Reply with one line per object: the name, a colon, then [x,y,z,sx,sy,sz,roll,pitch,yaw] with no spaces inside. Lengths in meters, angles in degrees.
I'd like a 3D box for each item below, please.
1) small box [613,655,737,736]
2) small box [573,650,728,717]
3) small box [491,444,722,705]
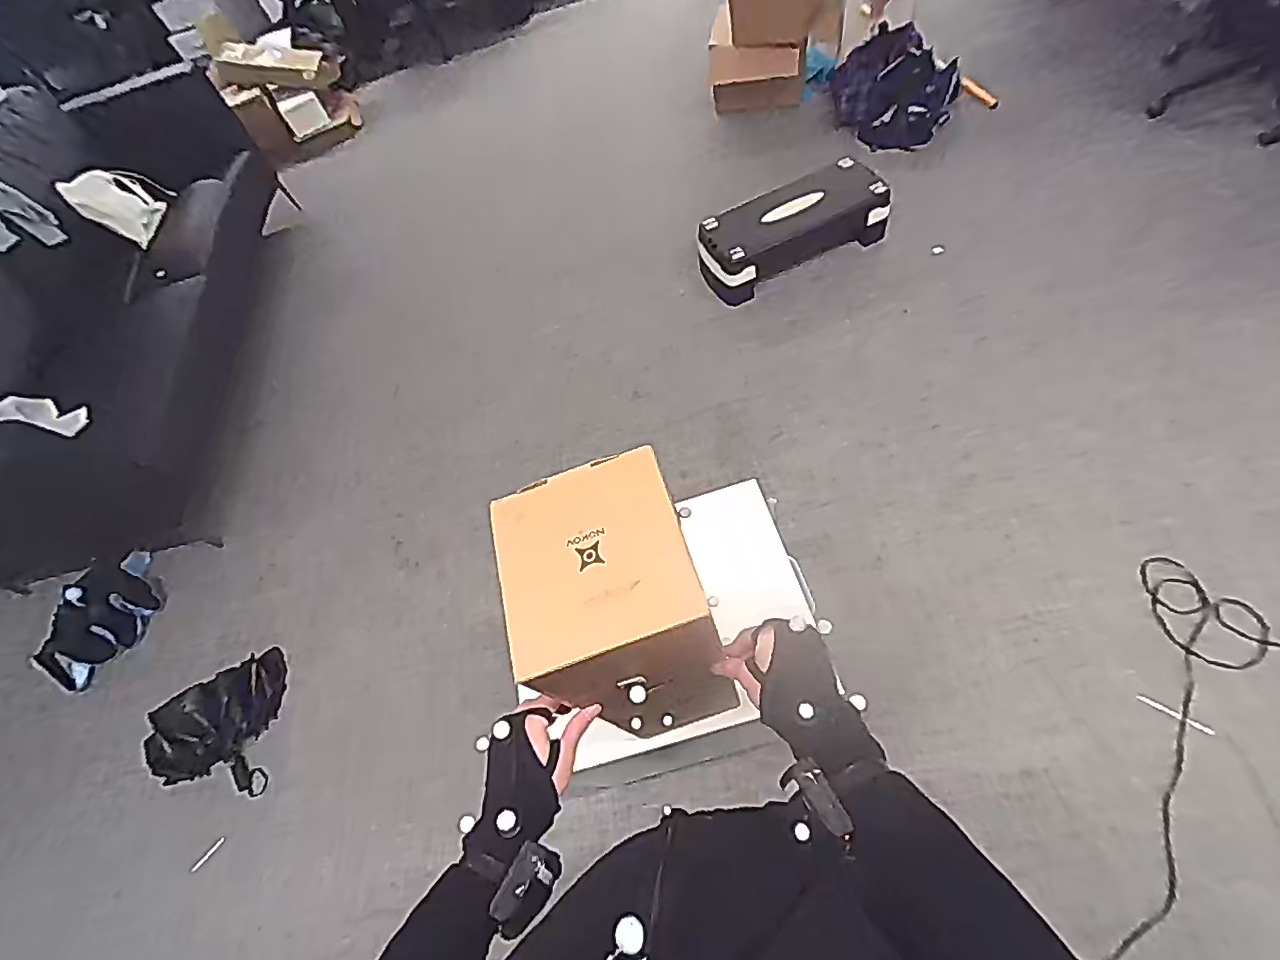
small box: [0.037,0.264,0.814,0.168,0.176,0.179,-21,57,1]
small box: [0.003,0.181,0.674,0.168,0.176,0.179,-20,56,1]
small box: [-0.028,0.100,0.536,0.168,0.176,0.179,-21,58,2]
